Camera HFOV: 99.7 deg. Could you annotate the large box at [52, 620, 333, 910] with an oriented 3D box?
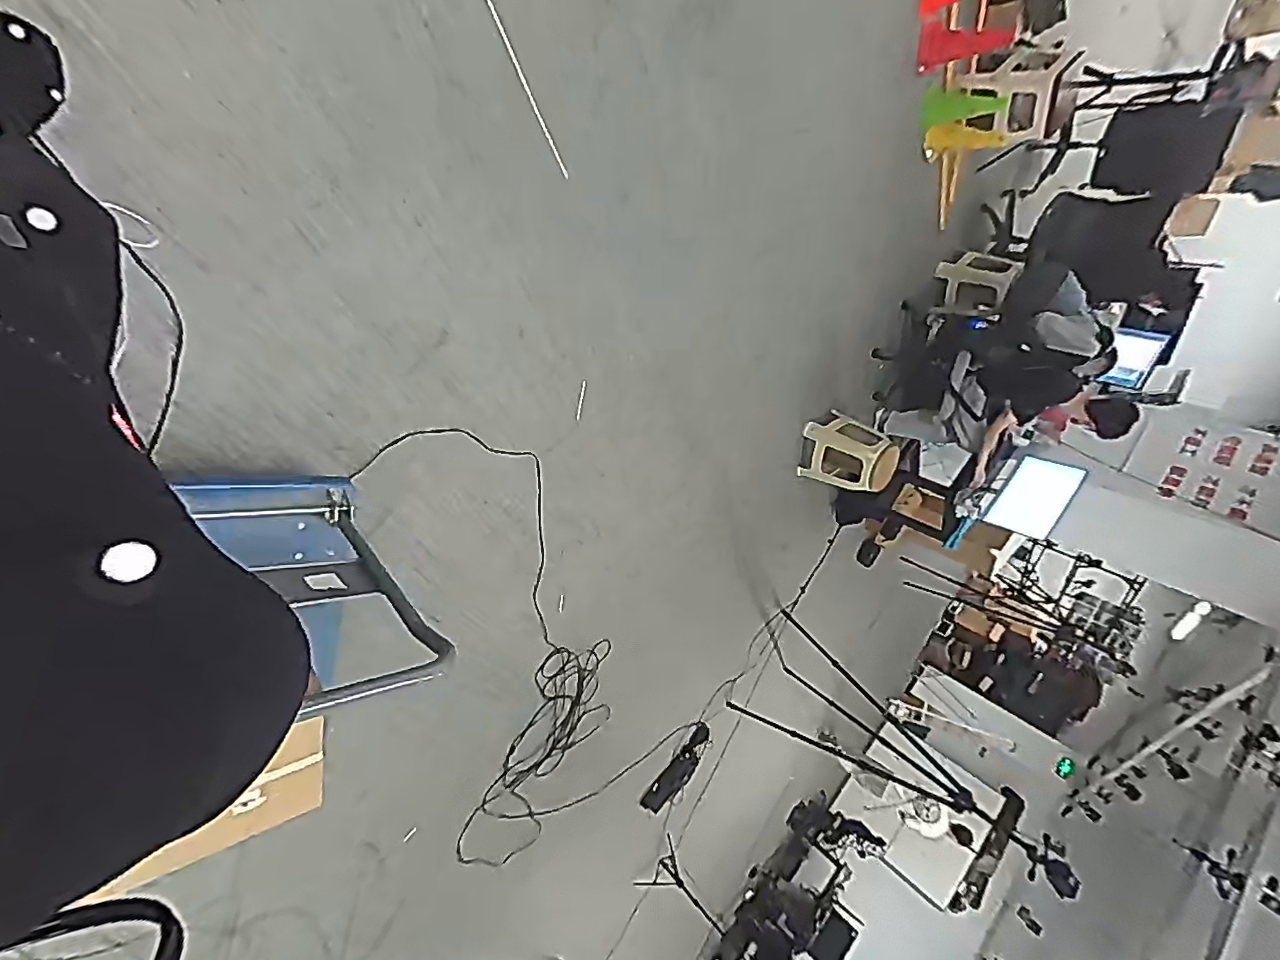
[{"bbox_3d":[-0.921,0.551,1.142,0.408,0.320,0.320,-9,118,-45],"label":"large box"}]
